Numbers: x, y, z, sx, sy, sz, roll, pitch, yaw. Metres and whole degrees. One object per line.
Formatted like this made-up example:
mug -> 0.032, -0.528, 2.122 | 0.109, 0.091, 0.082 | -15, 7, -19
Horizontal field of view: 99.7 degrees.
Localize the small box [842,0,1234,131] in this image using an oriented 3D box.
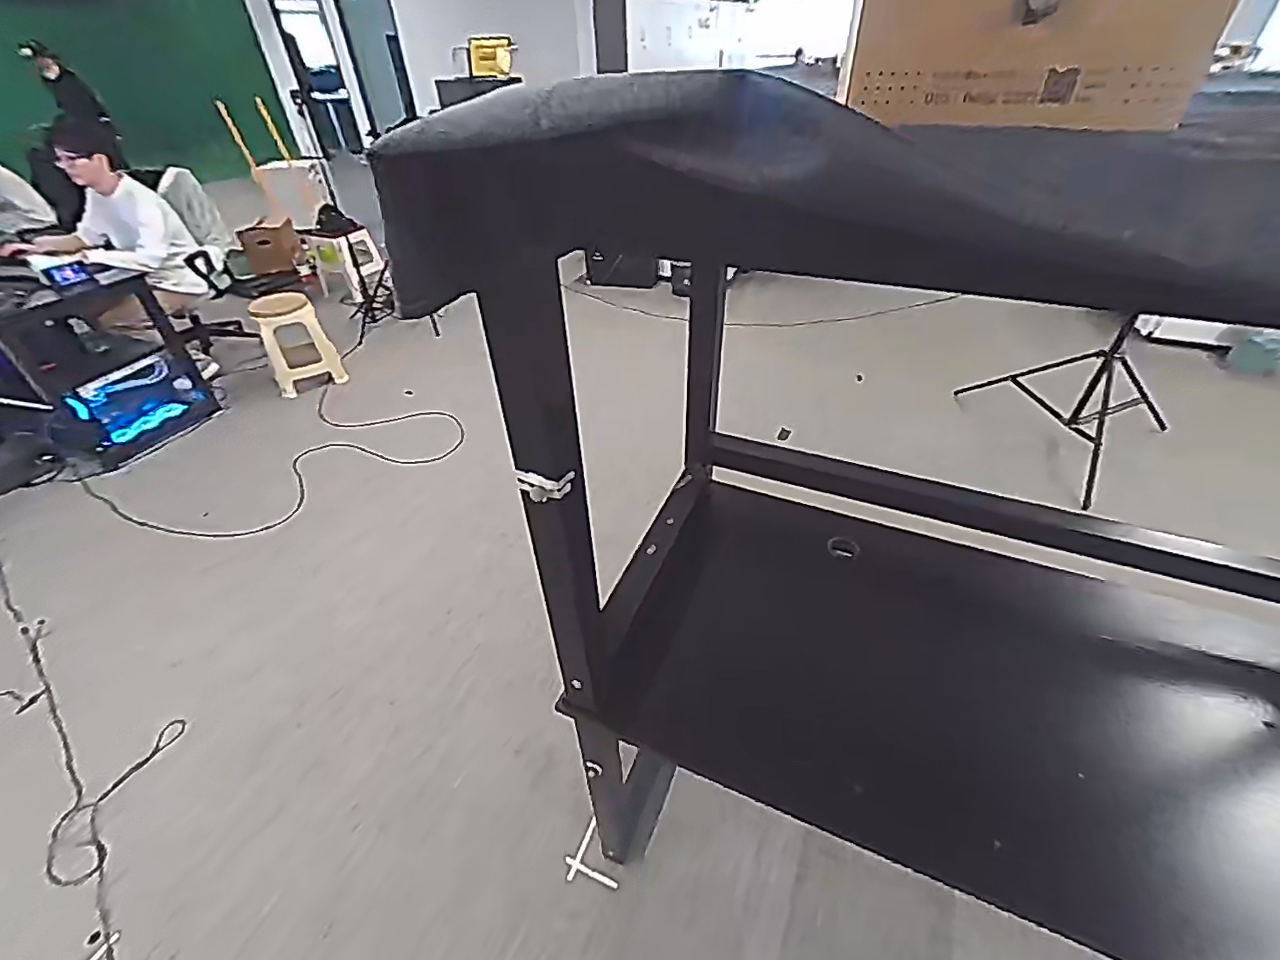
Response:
small box -> 0.216, -0.308, 0.305 | 0.168, 0.176, 0.179 | 8, 39, 13
